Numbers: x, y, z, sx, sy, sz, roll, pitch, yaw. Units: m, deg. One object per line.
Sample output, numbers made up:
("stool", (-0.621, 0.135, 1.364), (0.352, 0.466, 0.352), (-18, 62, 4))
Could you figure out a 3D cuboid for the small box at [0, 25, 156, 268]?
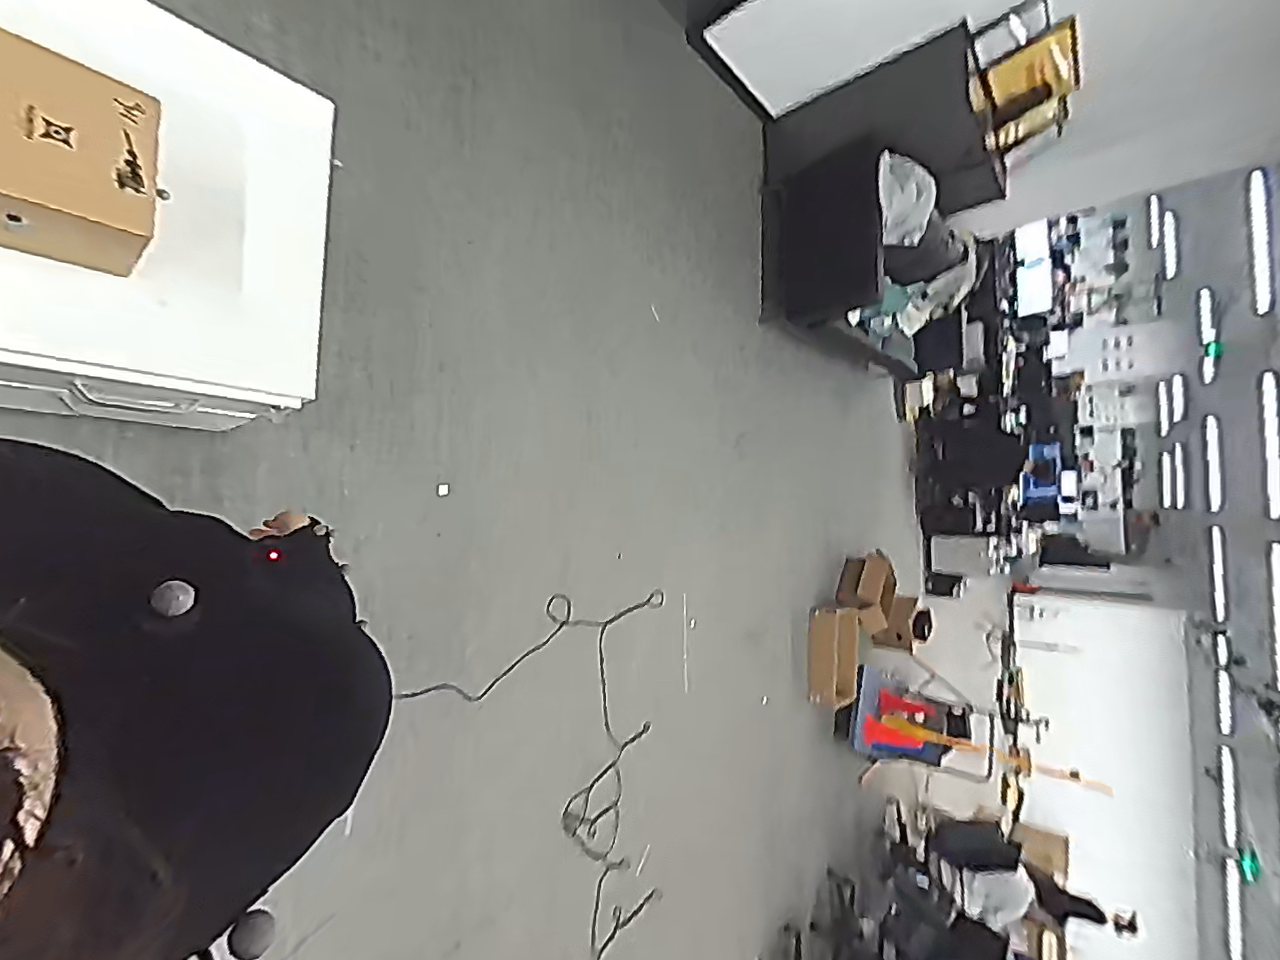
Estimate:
("small box", (-0.667, -0.355, 0.593), (0.179, 0.176, 0.168), (5, 84, -51))
